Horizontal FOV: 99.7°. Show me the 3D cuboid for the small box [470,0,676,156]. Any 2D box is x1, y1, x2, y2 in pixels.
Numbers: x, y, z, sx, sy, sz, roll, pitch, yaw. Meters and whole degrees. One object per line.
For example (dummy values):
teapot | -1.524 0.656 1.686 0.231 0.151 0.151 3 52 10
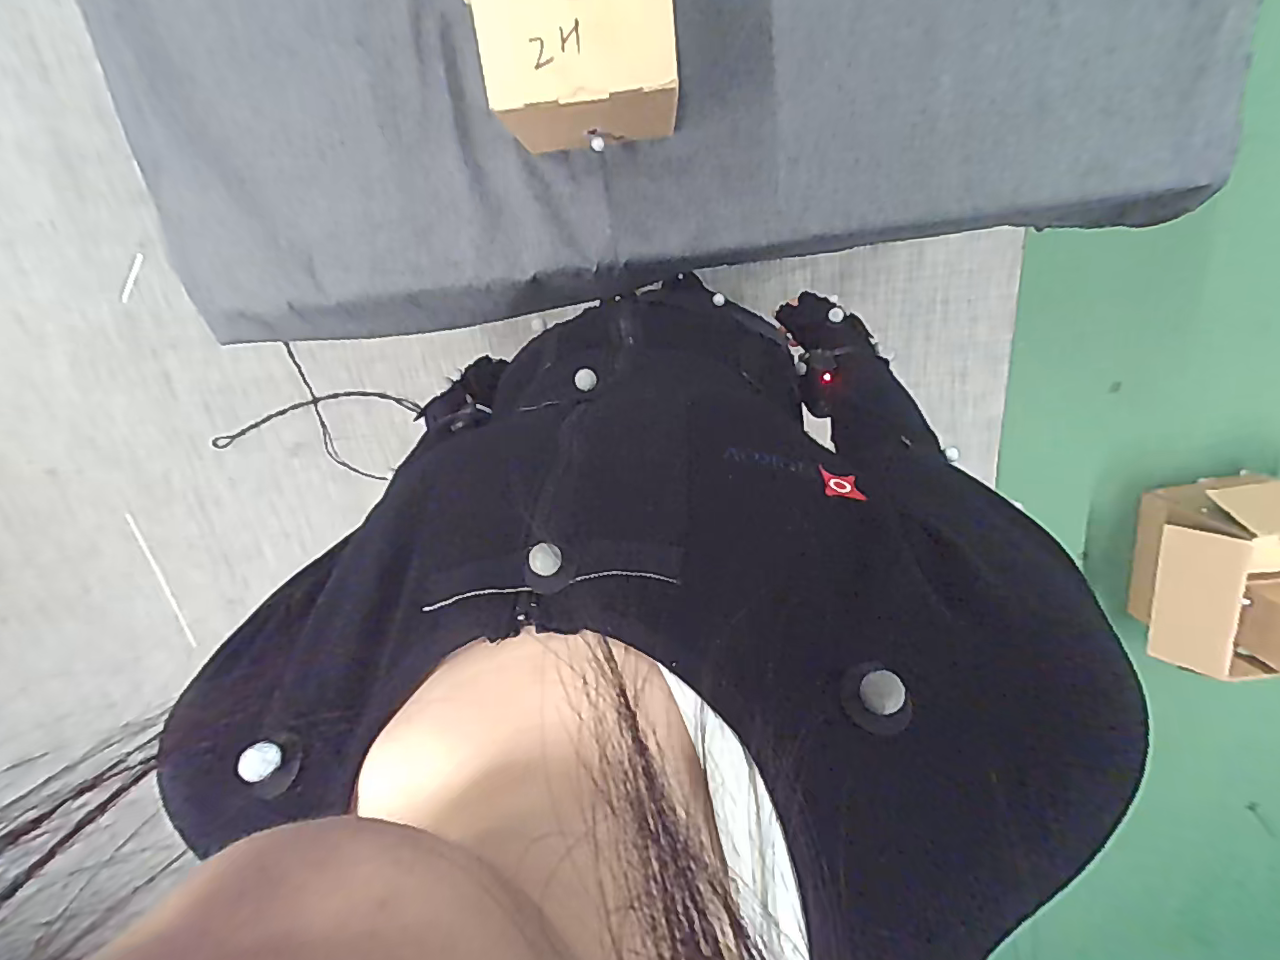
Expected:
small box | -0.057 -0.431 0.511 0.168 0.176 0.179 -5 111 4
